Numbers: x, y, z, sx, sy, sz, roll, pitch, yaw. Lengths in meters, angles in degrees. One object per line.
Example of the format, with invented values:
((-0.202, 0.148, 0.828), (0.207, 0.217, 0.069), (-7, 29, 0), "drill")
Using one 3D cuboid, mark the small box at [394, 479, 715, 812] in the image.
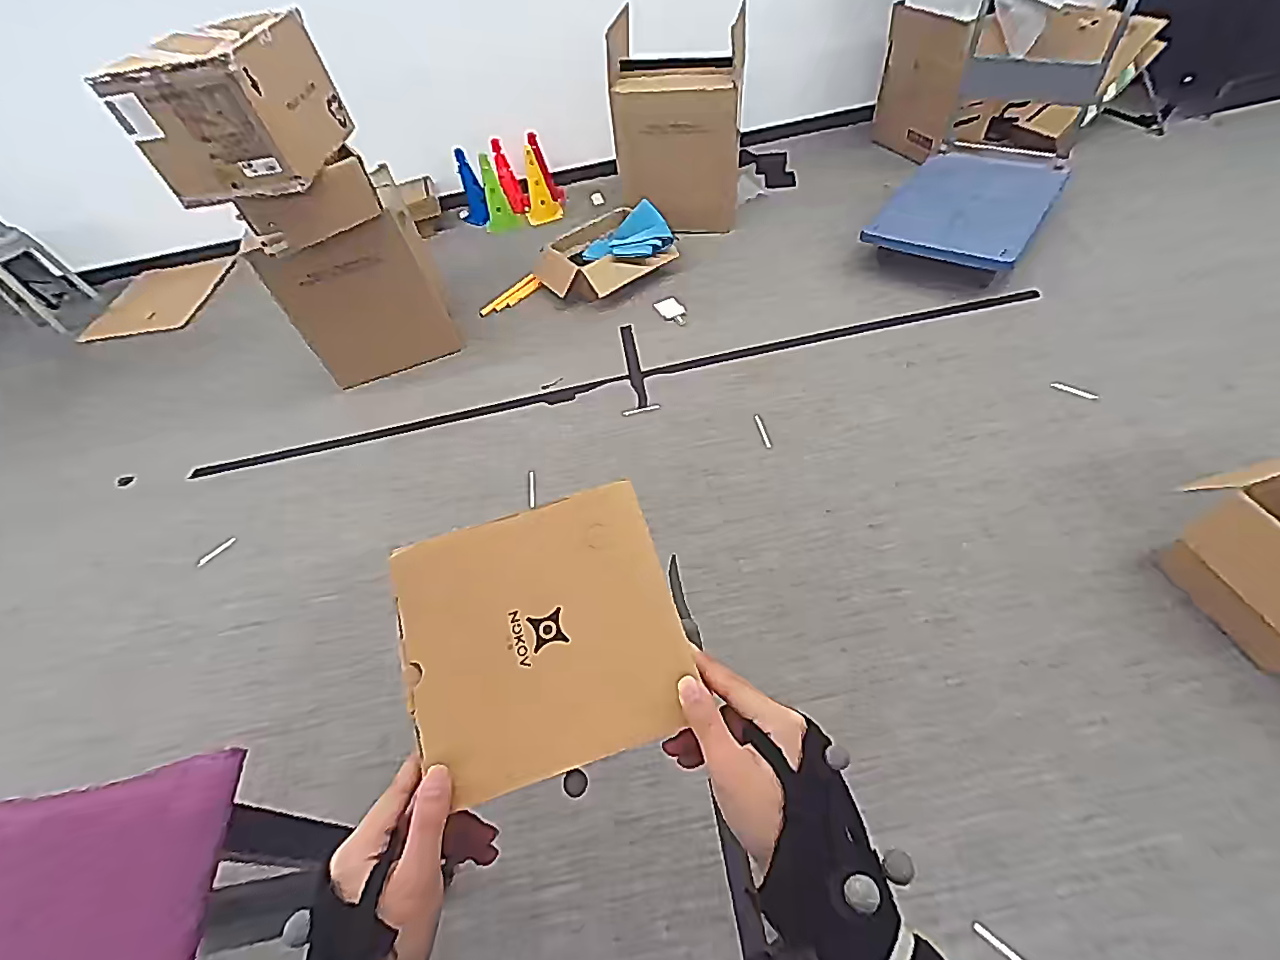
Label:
((-0.058, 0.123, 0.419), (0.179, 0.176, 0.168), (-18, 69, -4), "small box")
